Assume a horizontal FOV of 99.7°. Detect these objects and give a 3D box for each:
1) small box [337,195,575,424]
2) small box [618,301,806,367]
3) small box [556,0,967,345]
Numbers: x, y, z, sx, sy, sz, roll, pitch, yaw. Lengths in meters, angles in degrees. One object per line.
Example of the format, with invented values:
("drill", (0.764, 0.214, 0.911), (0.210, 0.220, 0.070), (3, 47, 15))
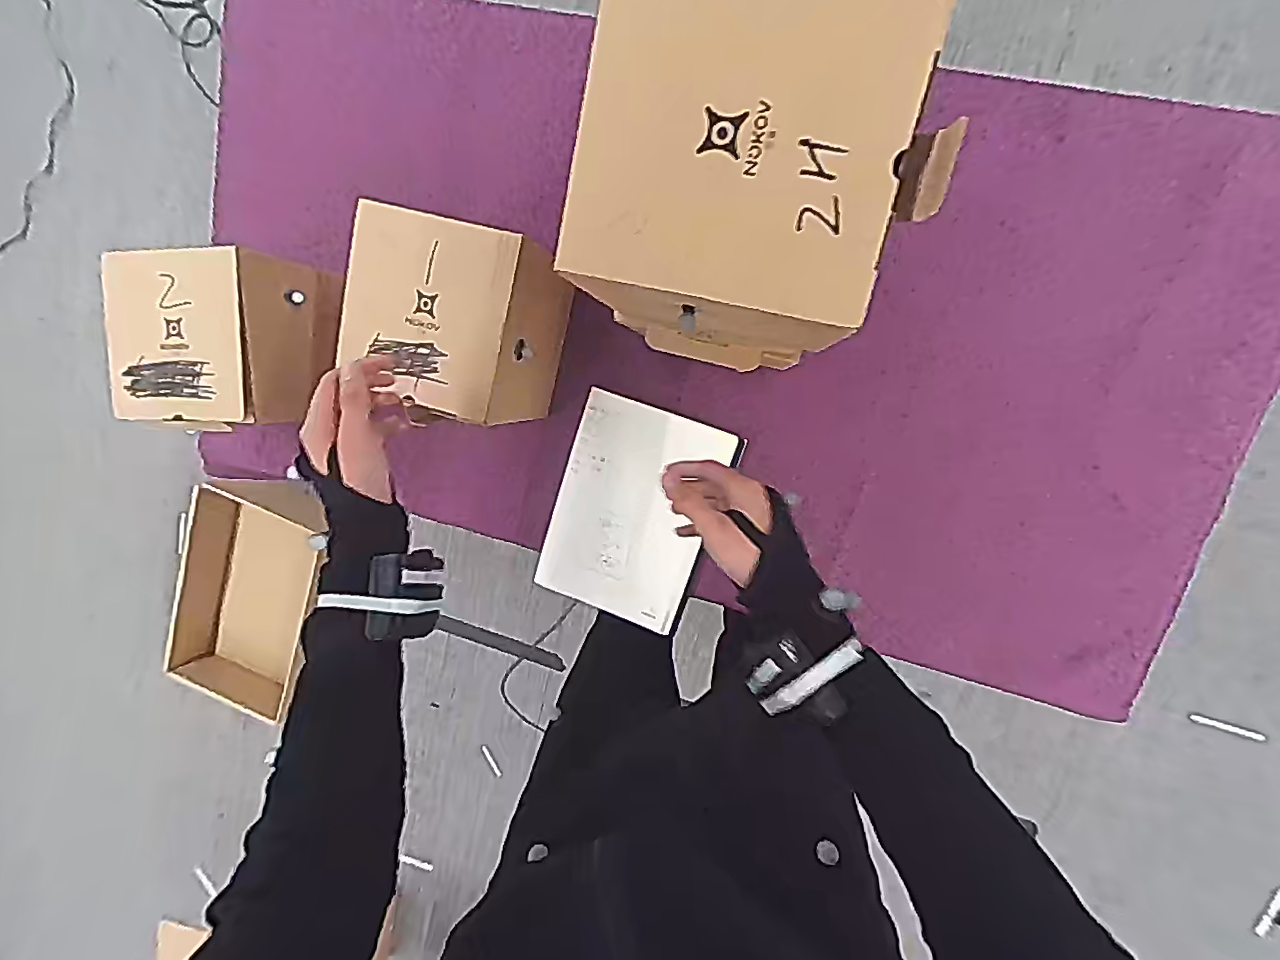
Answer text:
("small box", (-0.181, -0.167, 0.574), (0.168, 0.176, 0.179), (16, 101, 8))
("small box", (0.093, -0.211, 0.514), (0.168, 0.176, 0.179), (16, 101, 8))
("small box", (0.067, -0.189, 0.352), (0.179, 0.176, 0.168), (14, 102, 8))
